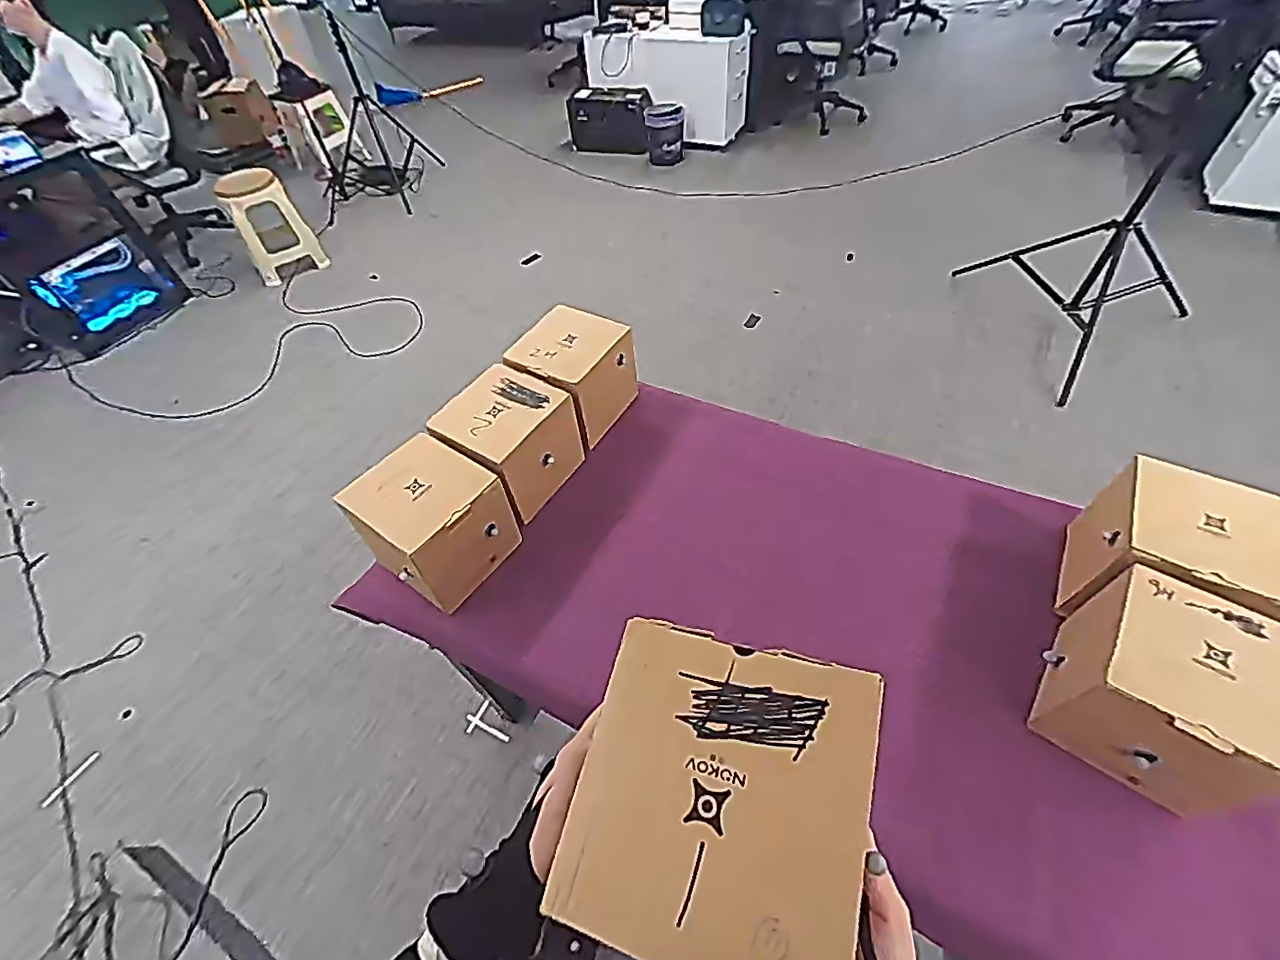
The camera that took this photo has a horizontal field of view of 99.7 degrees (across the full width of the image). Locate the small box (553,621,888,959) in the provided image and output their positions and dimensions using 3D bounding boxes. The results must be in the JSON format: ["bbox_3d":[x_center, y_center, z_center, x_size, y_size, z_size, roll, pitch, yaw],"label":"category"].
[{"bbox_3d":[0.069,0.224,0.380,0.168,0.176,0.179,7,62,23],"label":"small box"}]

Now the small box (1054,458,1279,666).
[{"bbox_3d":[0.688,0.109,0.715,0.168,0.176,0.179,24,56,21],"label":"small box"}]

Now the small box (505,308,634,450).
[{"bbox_3d":[-0.122,-0.191,1.025,0.168,0.176,0.179,24,57,22],"label":"small box"}]
